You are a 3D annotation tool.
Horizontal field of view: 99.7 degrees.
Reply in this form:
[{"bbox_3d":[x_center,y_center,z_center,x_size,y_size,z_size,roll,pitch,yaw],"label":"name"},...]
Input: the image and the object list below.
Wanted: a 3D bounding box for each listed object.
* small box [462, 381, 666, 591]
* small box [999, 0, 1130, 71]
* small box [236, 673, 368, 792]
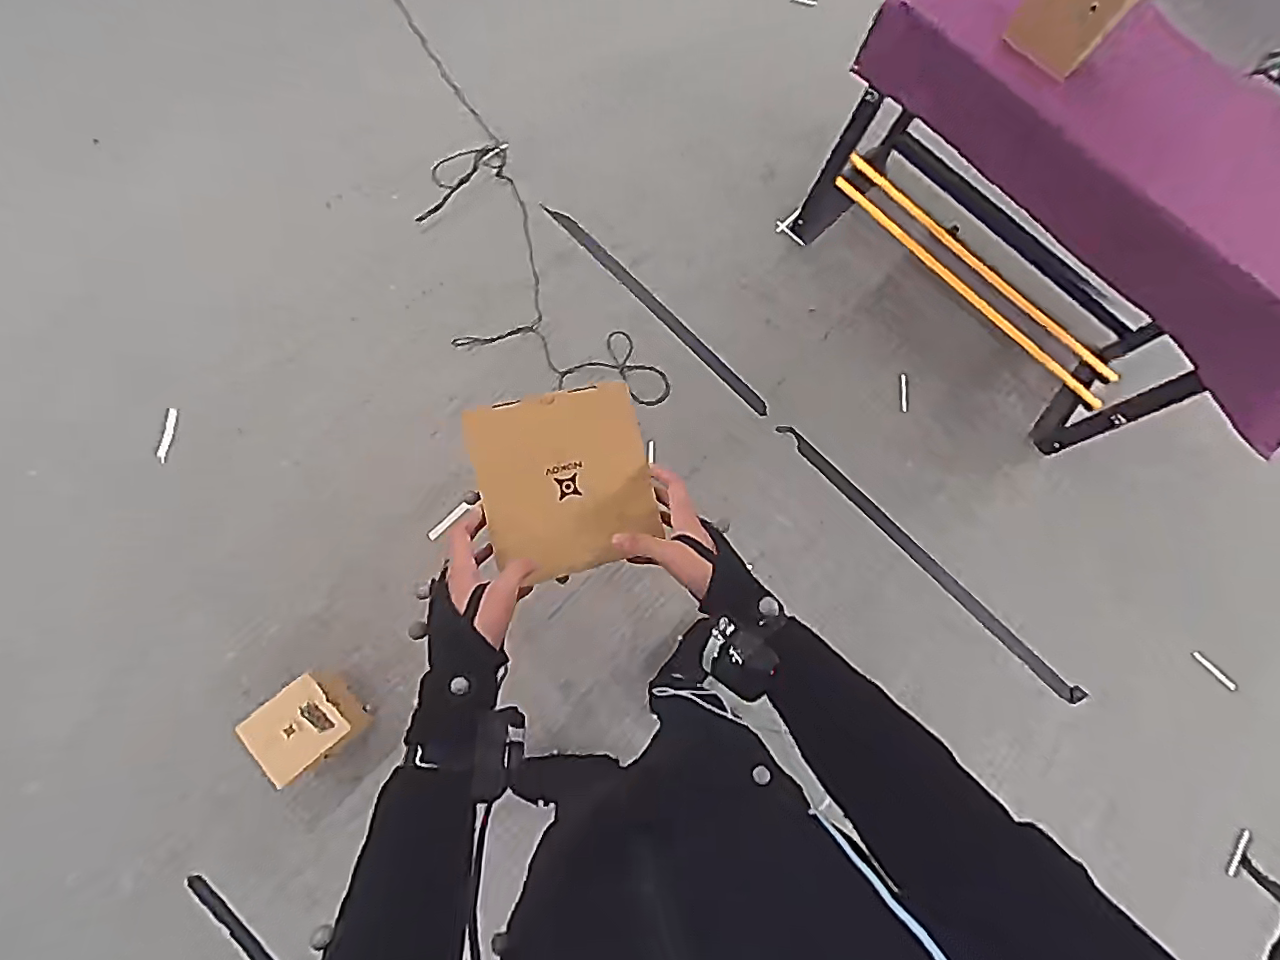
[{"bbox_3d":[-0.086,0.008,0.594,0.168,0.176,0.179,-13,88,-13],"label":"small box"},{"bbox_3d":[0.960,-1.058,1.202,0.168,0.176,0.179,-42,83,-18],"label":"small box"},{"bbox_3d":[-0.752,0.562,1.234,0.179,0.176,0.168,-41,82,-16],"label":"small box"}]
